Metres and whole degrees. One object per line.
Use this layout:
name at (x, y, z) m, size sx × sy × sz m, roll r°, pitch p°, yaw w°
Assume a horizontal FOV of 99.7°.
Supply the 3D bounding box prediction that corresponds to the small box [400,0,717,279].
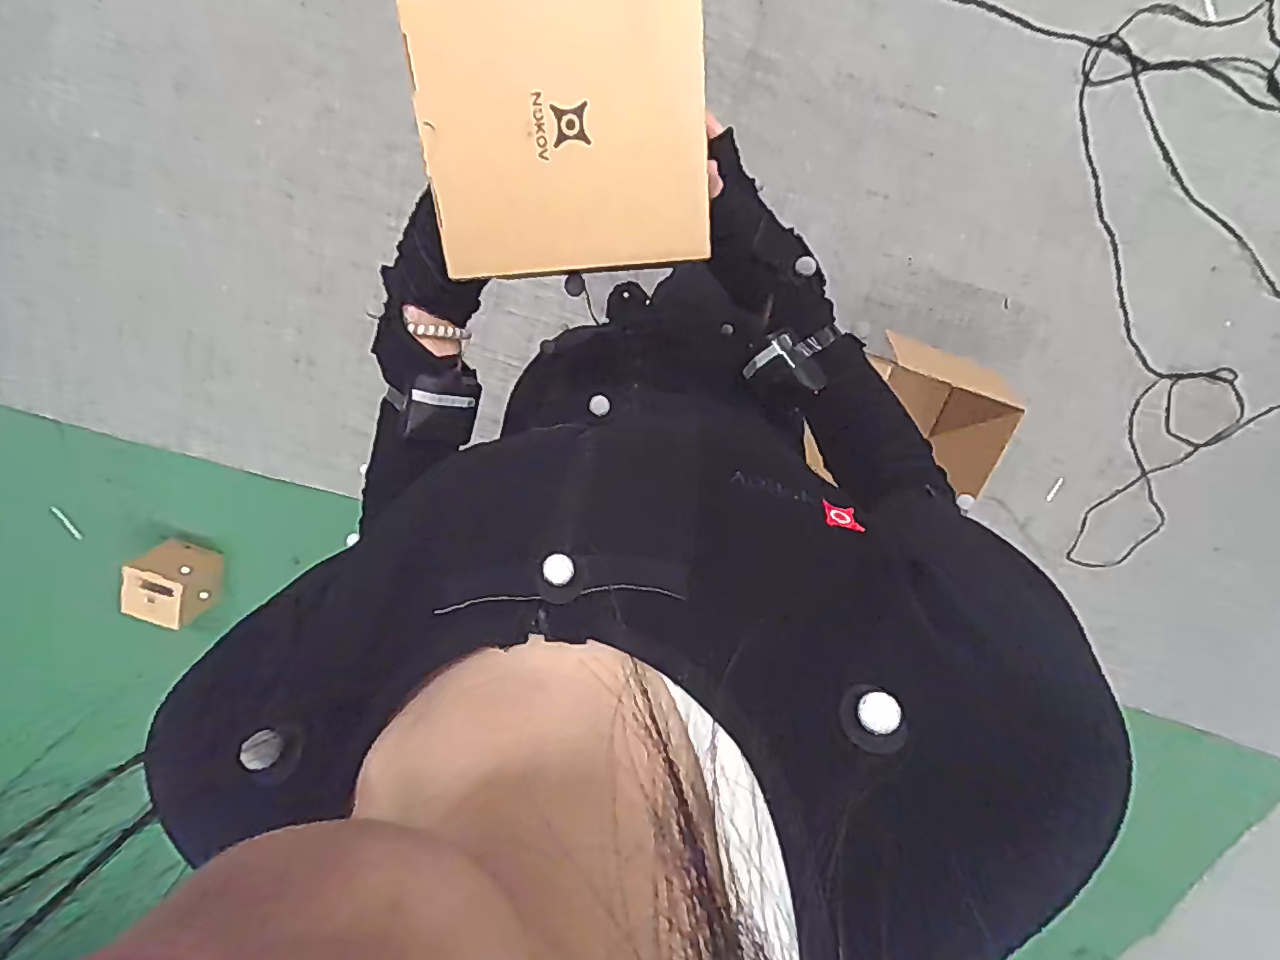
small box at (-0.043, -0.243, 0.395) m, size 0.179 × 0.176 × 0.168 m, roll -4°, pitch 111°, yaw 2°
